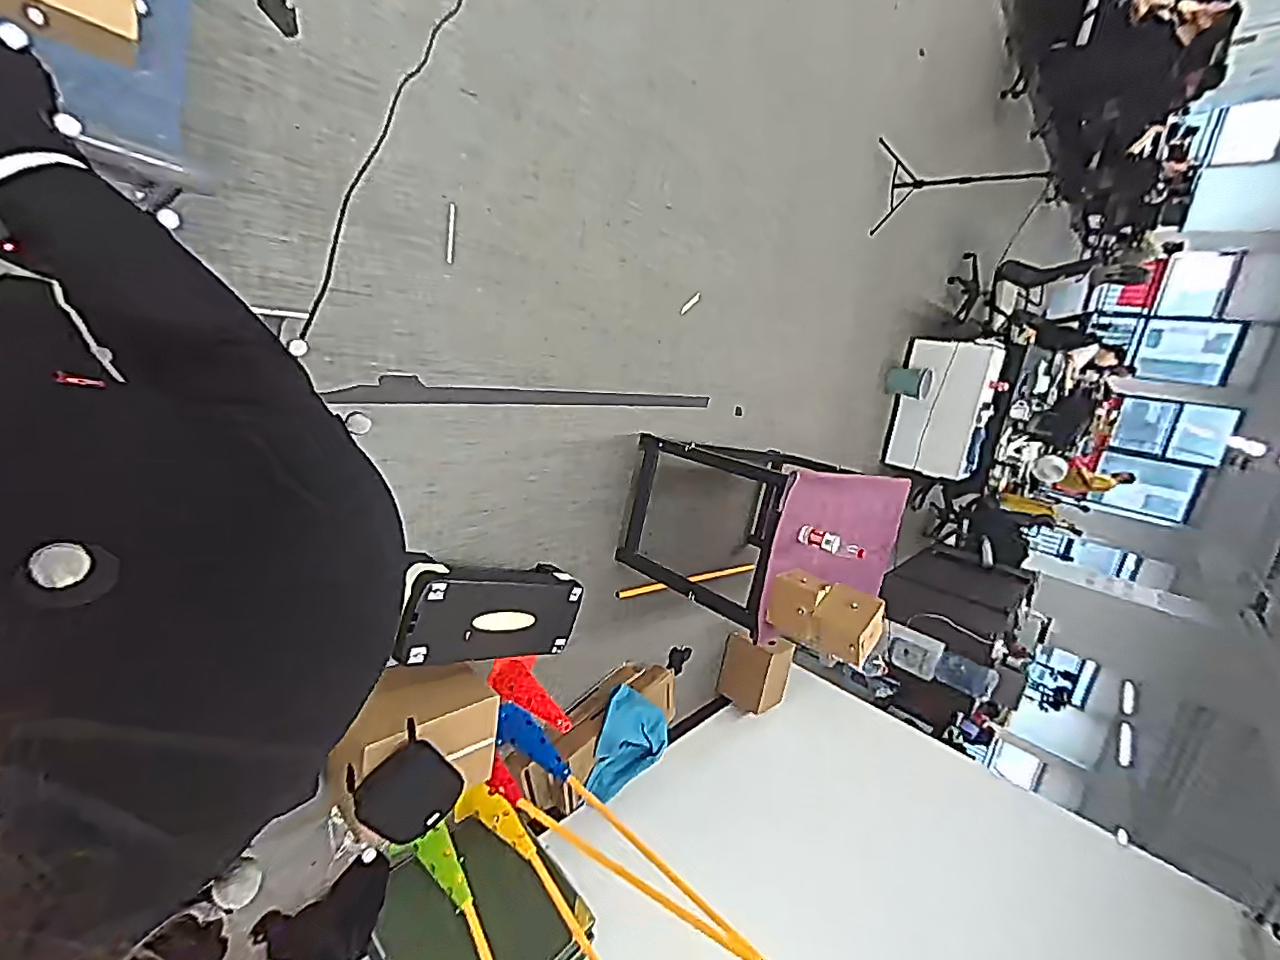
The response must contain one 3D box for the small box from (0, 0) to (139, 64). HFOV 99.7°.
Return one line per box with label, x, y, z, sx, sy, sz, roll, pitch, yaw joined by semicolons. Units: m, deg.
small box;-0.808;-0.711;0.736;0.179;0.176;0.168;-2;107;-47
